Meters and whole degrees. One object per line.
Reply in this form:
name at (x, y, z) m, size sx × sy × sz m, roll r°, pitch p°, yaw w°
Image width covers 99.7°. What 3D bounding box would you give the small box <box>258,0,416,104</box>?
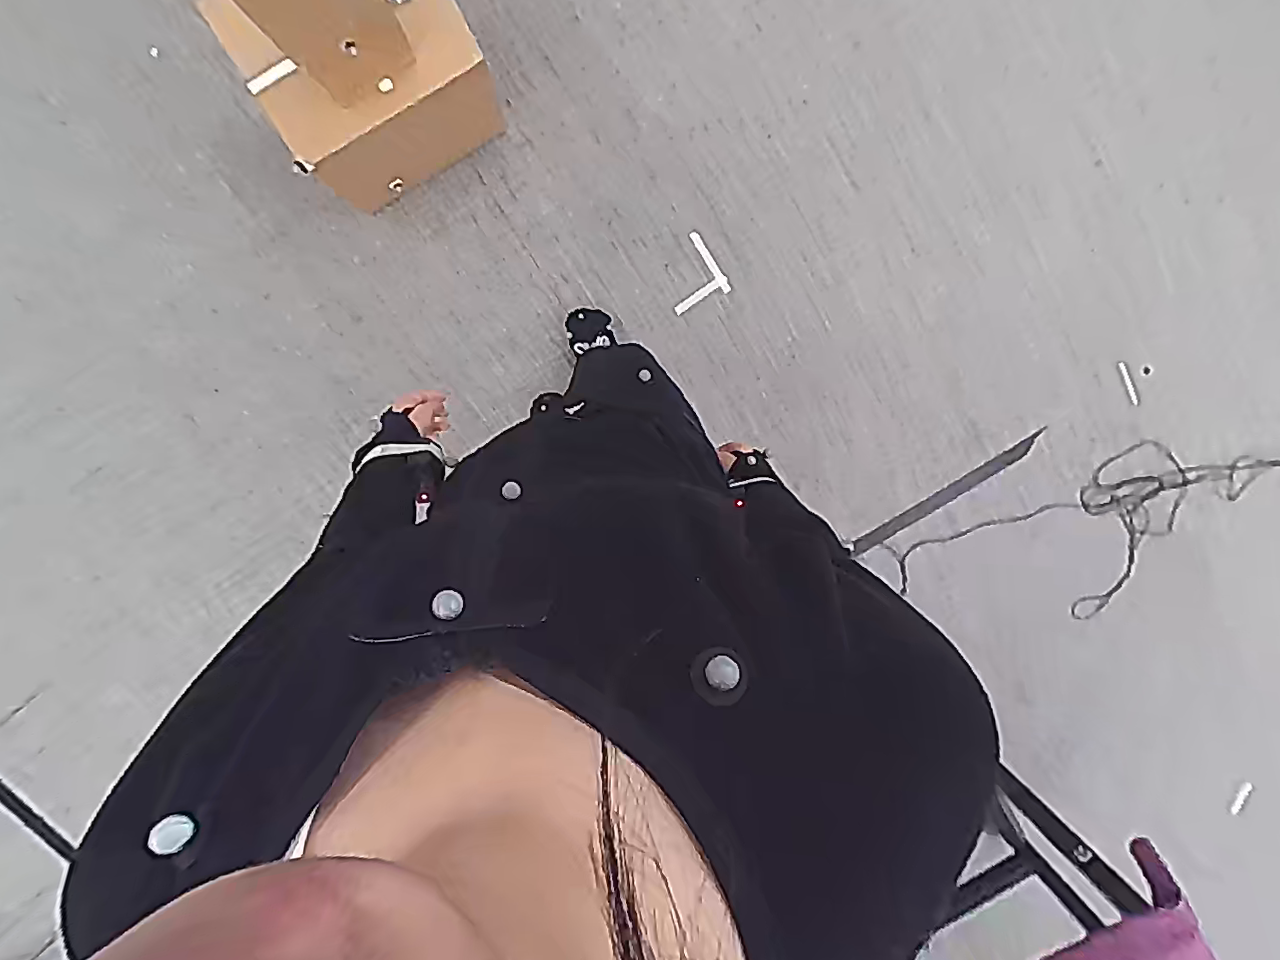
small box at (-0.514, -0.787, 0.911) m, size 0.179 × 0.176 × 0.168 m, roll -33°, pitch 103°, yaw 1°
